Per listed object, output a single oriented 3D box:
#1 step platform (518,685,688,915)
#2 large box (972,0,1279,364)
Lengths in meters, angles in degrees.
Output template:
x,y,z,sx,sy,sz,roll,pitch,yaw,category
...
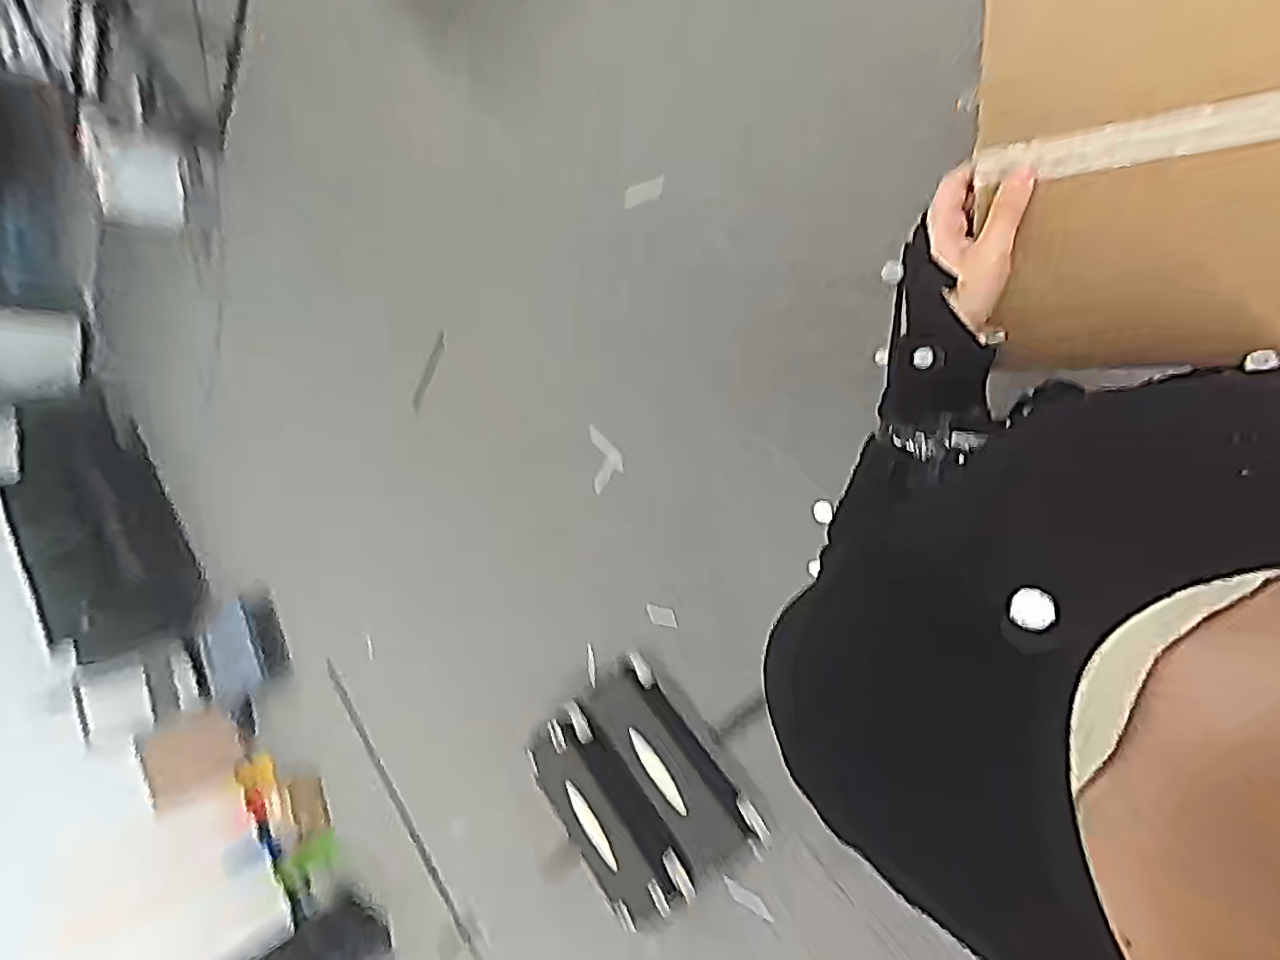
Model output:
x,y,z,sx,sy,sz,roll,pitch,yaw,category
-0.142,1.082,1.849,0.286,0.204,0.684,-46,69,31,step platform
0.424,-0.291,0.296,0.408,0.320,0.320,4,138,32,large box
